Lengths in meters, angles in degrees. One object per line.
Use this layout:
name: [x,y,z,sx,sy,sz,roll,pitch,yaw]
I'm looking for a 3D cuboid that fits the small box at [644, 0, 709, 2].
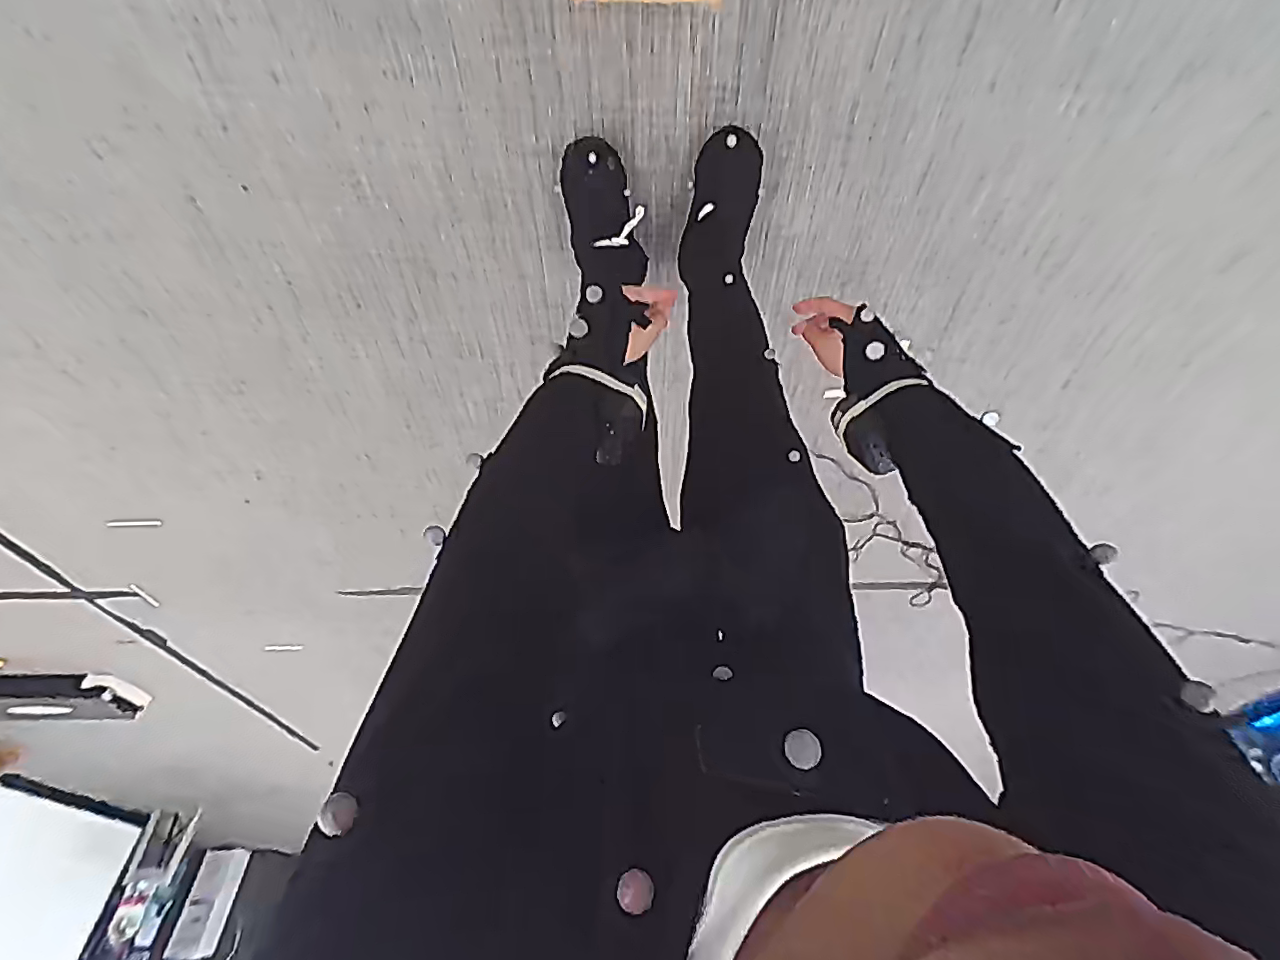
small box: [0.008,-0.664,0.613,0.179,0.176,0.168,-1,138,-2]
